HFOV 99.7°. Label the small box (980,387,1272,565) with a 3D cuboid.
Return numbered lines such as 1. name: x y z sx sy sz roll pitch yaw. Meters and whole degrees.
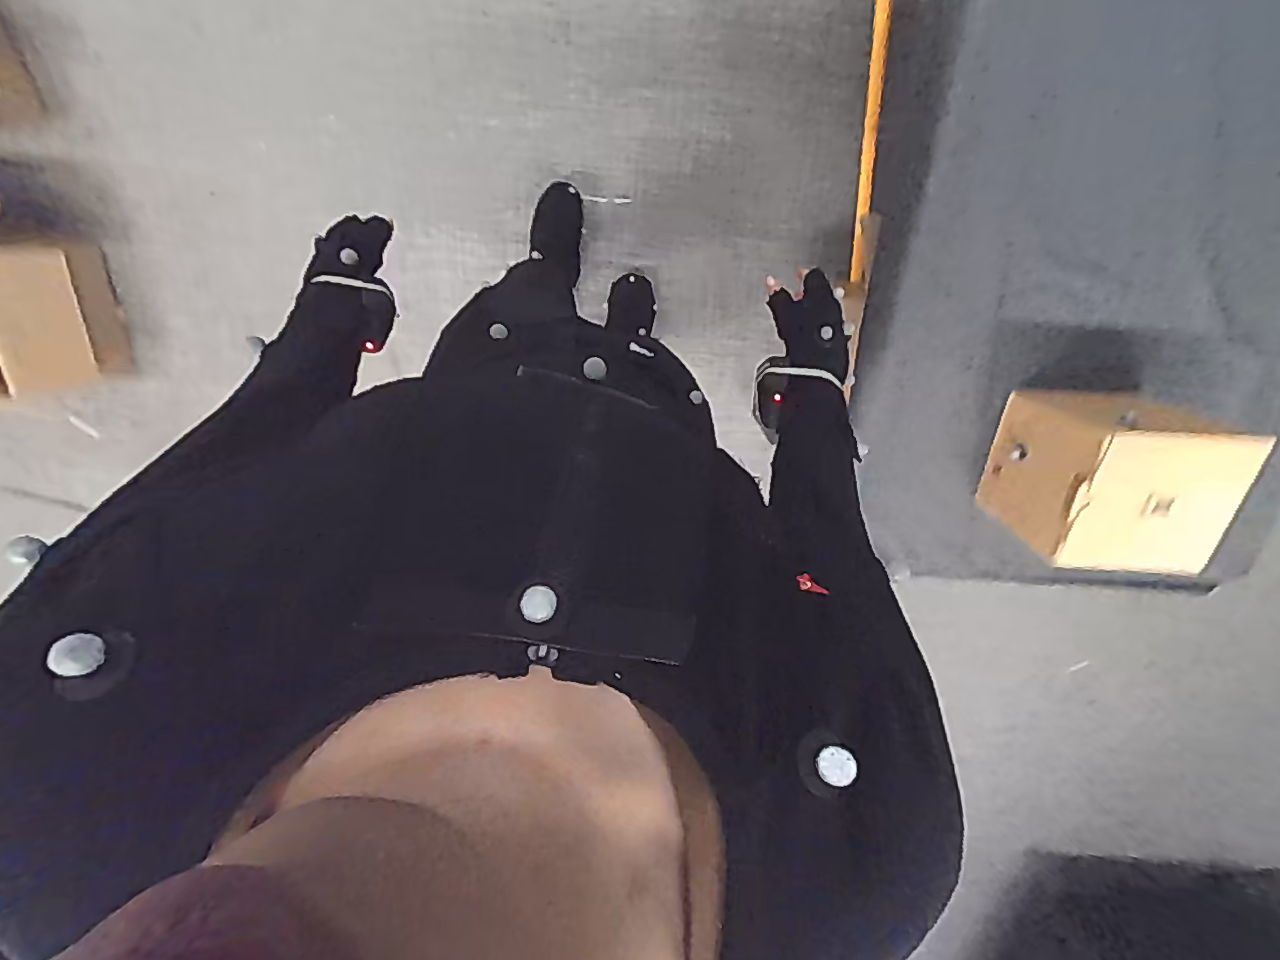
1. small box: 0.573 -0.012 0.670 0.179 0.176 0.168 2 115 0
